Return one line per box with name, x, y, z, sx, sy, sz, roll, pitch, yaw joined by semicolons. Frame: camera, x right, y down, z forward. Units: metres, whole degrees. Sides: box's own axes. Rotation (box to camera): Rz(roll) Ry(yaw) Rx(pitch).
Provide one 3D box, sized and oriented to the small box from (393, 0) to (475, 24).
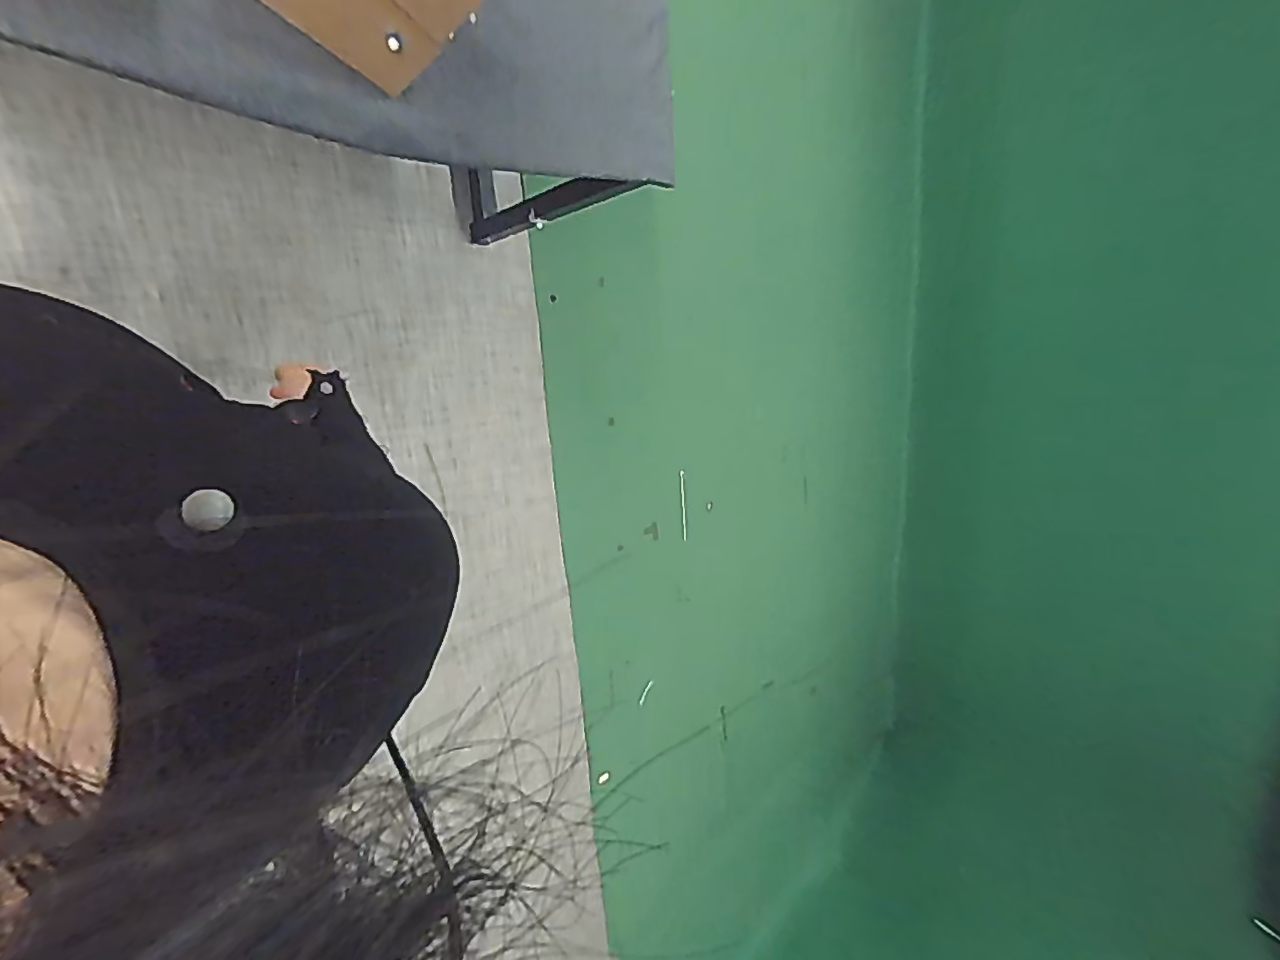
small box;-0.192;-0.566;0.485;0.179;0.176;0.168;29;76;-43
